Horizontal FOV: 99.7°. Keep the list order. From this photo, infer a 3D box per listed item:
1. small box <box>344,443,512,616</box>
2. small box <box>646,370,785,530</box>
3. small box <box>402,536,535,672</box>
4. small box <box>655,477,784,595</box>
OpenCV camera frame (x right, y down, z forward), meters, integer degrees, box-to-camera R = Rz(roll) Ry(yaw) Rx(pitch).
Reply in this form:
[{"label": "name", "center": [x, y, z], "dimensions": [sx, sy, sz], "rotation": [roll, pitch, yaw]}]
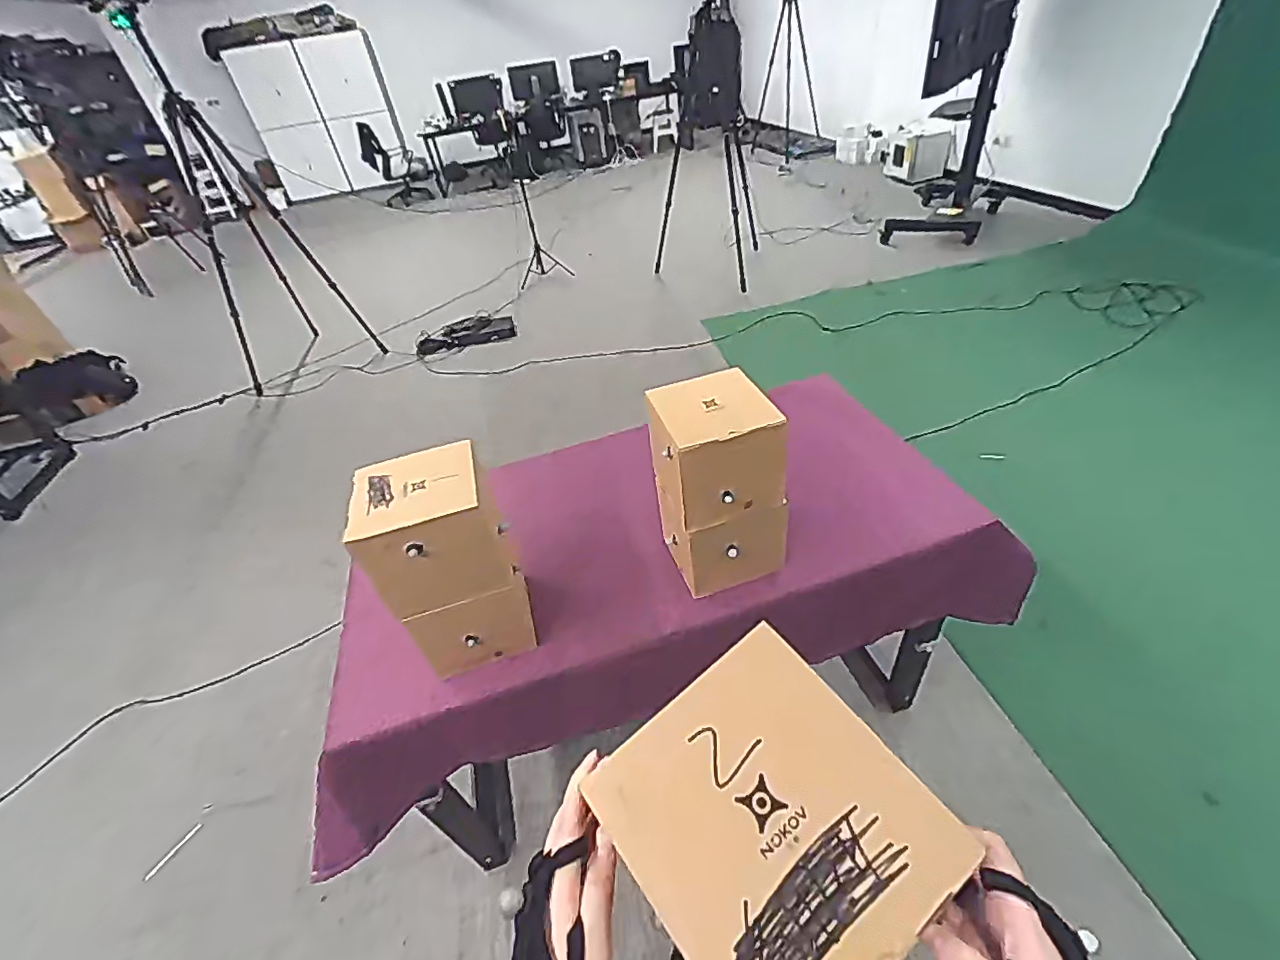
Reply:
[{"label": "small box", "center": [-0.307, 0.076, 0.809], "dimensions": [0.179, 0.176, 0.168], "rotation": [-16, 40, -9]}, {"label": "small box", "center": [0.116, -0.049, 0.870], "dimensions": [0.168, 0.176, 0.179], "rotation": [-16, 41, -8]}, {"label": "small box", "center": [-0.284, 0.200, 0.915], "dimensions": [0.168, 0.176, 0.179], "rotation": [-16, 40, -8]}, {"label": "small box", "center": [0.143, 0.078, 0.970], "dimensions": [0.179, 0.176, 0.168], "rotation": [-18, 41, -8]}]
